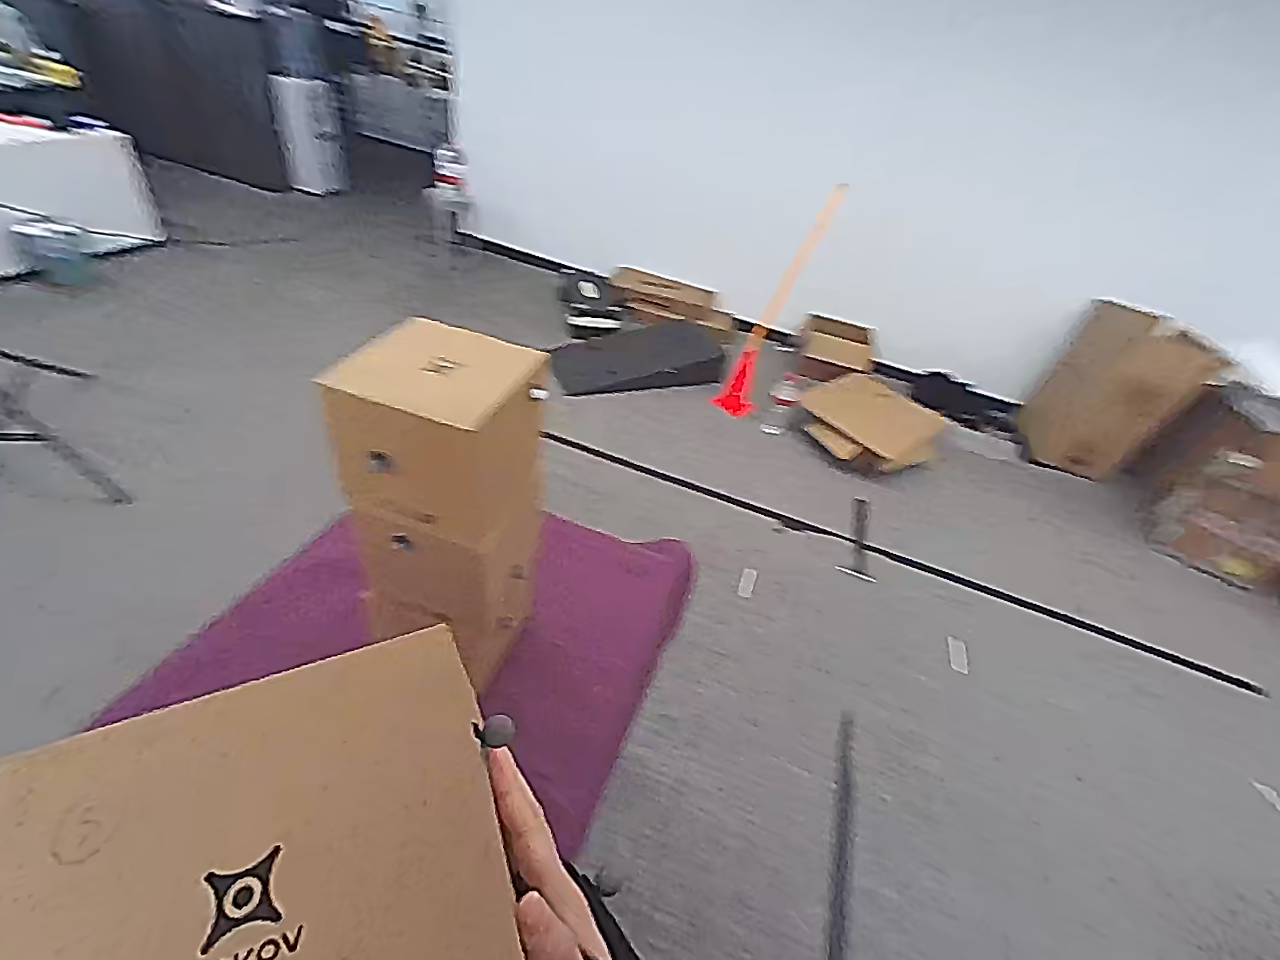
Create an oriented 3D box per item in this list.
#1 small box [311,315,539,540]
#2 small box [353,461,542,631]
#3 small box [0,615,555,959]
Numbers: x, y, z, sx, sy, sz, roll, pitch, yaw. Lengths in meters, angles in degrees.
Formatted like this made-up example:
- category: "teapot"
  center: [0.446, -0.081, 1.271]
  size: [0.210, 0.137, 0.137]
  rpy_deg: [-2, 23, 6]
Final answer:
- category: "small box"
  center: [-0.224, -0.060, 0.614]
  size: [0.168, 0.176, 0.179]
  rpy_deg: [17, 40, 5]
- category: "small box"
  center: [-0.244, 0.066, 0.717]
  size: [0.168, 0.176, 0.179]
  rpy_deg: [16, 39, 5]
- category: "small box"
  center: [-0.134, 0.196, 0.247]
  size: [0.168, 0.176, 0.179]
  rpy_deg: [-14, 54, -18]
